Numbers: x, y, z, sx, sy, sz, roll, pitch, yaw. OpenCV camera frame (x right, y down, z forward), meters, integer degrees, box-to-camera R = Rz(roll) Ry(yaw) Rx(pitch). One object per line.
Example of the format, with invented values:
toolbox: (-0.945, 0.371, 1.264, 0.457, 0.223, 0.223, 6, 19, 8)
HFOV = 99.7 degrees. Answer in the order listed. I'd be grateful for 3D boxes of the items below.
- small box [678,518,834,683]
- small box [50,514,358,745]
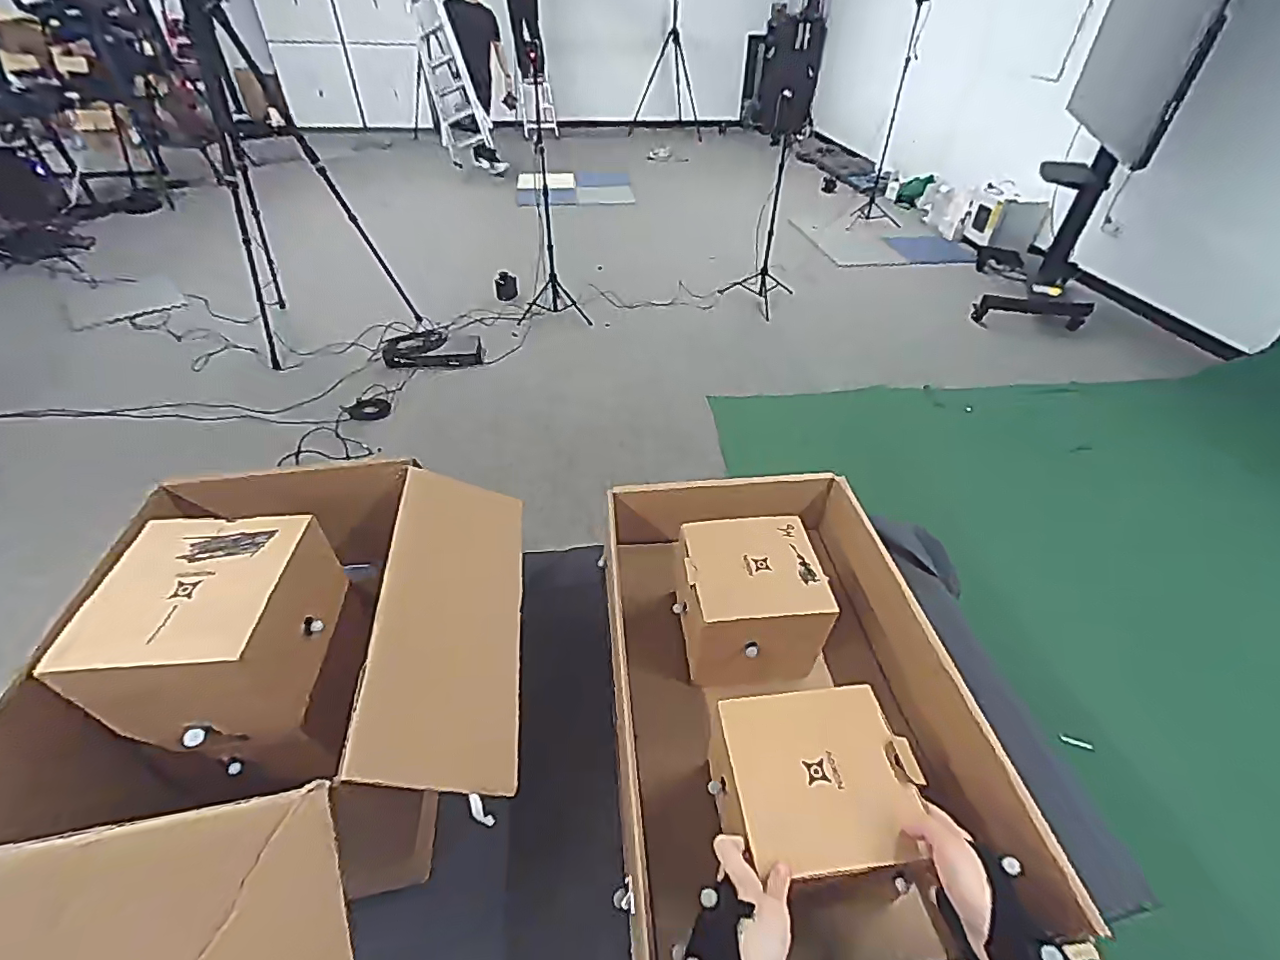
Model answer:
small box: (0.151, 0.176, 0.780, 0.179, 0.176, 0.168, -4, 45, -4)
small box: (-0.424, 0.156, 0.573, 0.168, 0.176, 0.179, -2, 44, -4)
